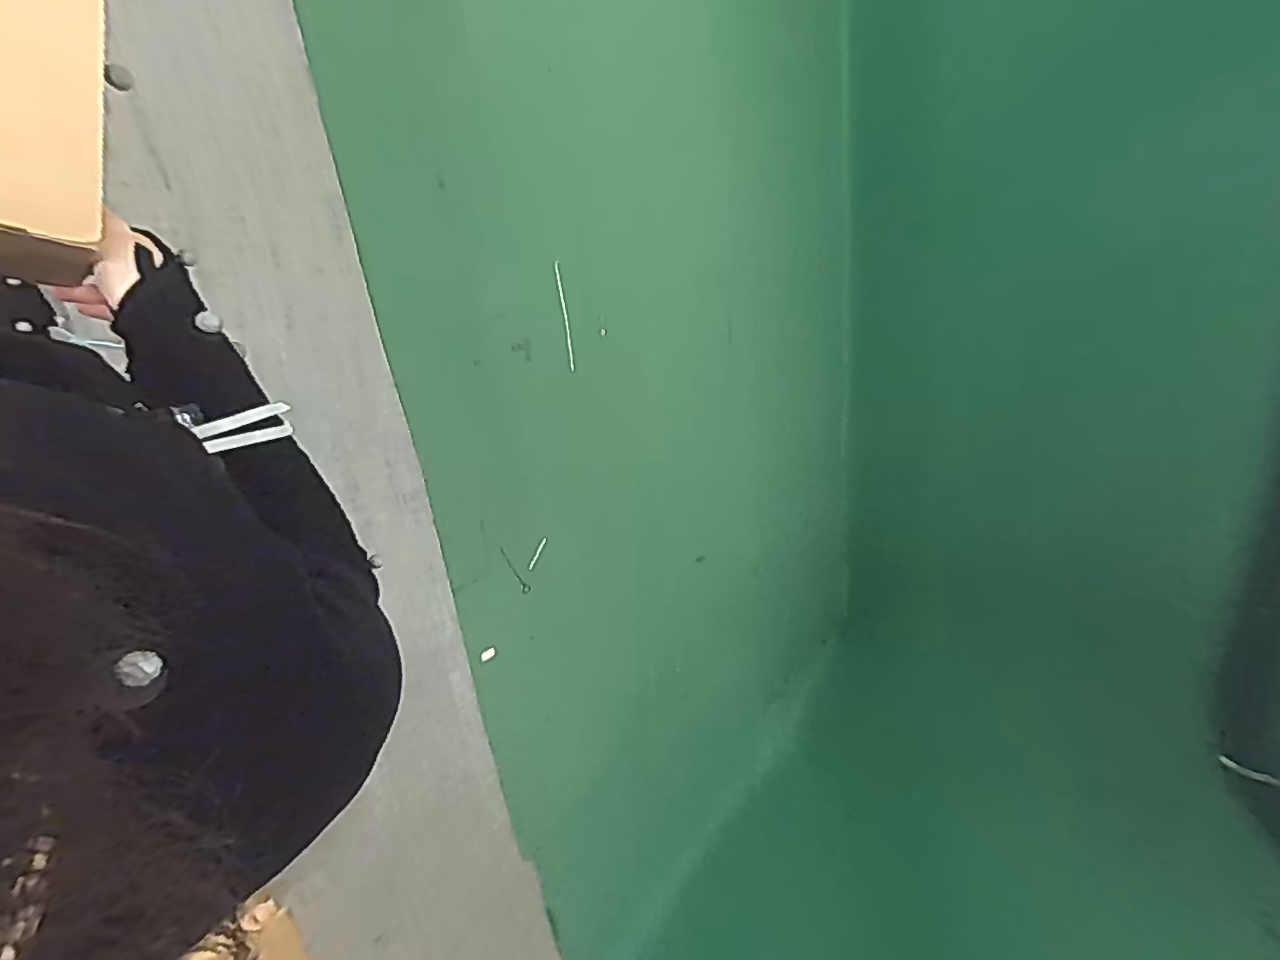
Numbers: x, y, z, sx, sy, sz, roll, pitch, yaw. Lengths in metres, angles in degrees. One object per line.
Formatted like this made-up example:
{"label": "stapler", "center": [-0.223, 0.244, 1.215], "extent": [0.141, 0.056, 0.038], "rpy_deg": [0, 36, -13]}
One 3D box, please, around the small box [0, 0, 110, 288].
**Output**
{"label": "small box", "center": [-0.446, -0.235, 0.328], "extent": [0.168, 0.176, 0.179], "rpy_deg": [-1, 95, -49]}

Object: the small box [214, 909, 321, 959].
{"label": "small box", "center": [-0.645, 0.917, 0.943], "extent": [0.168, 0.176, 0.179], "rpy_deg": [-25, 114, -42]}
